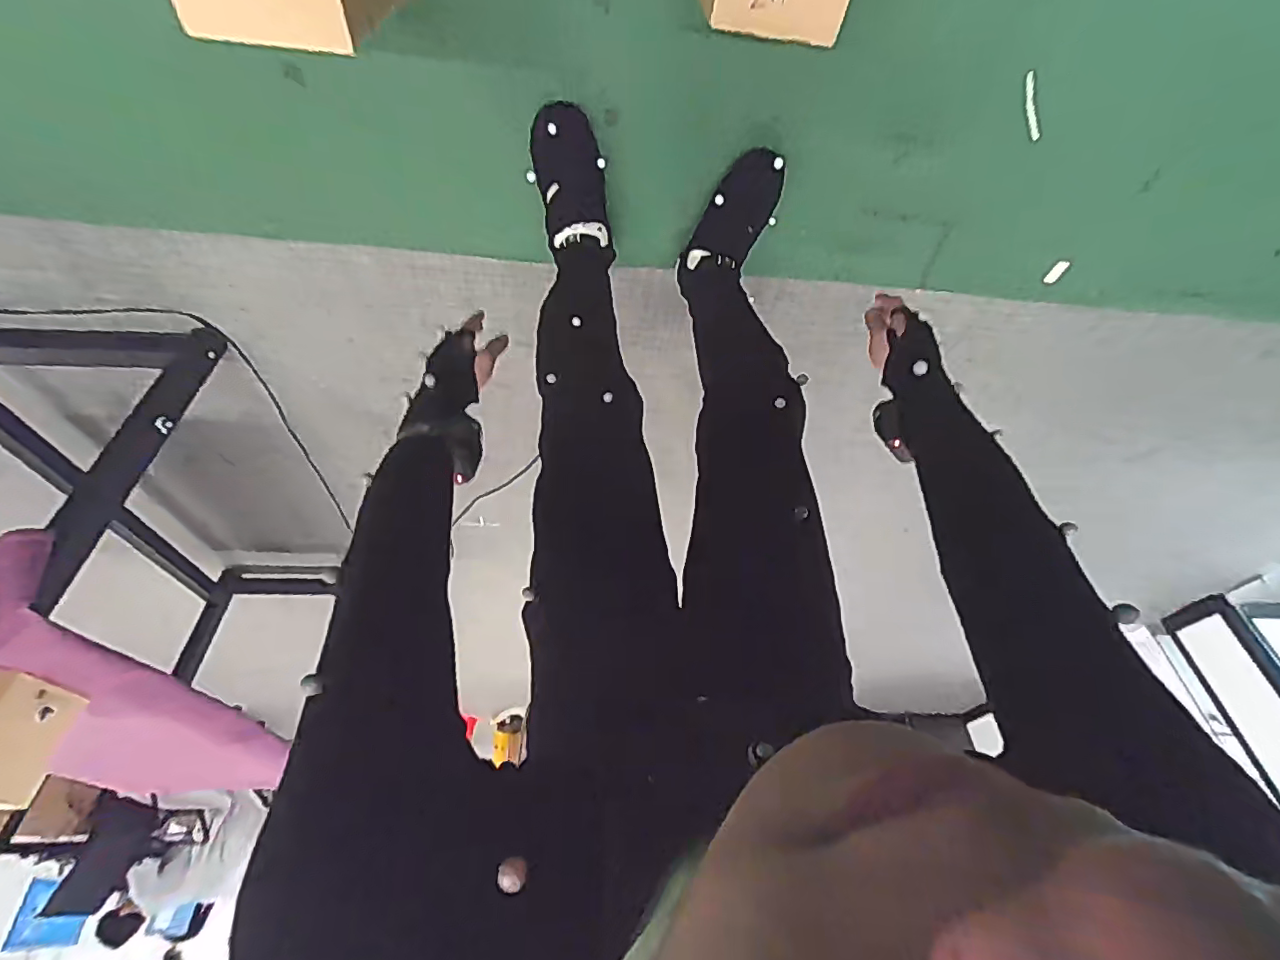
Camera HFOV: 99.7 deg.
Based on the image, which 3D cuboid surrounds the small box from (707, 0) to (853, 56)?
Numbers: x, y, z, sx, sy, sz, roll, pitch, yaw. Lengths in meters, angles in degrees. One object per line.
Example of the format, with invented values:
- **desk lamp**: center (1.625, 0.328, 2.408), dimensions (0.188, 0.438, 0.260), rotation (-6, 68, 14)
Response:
- **small box**: center (0.182, -0.671, 0.674), dimensions (0.168, 0.176, 0.179), rotation (4, 142, -7)
